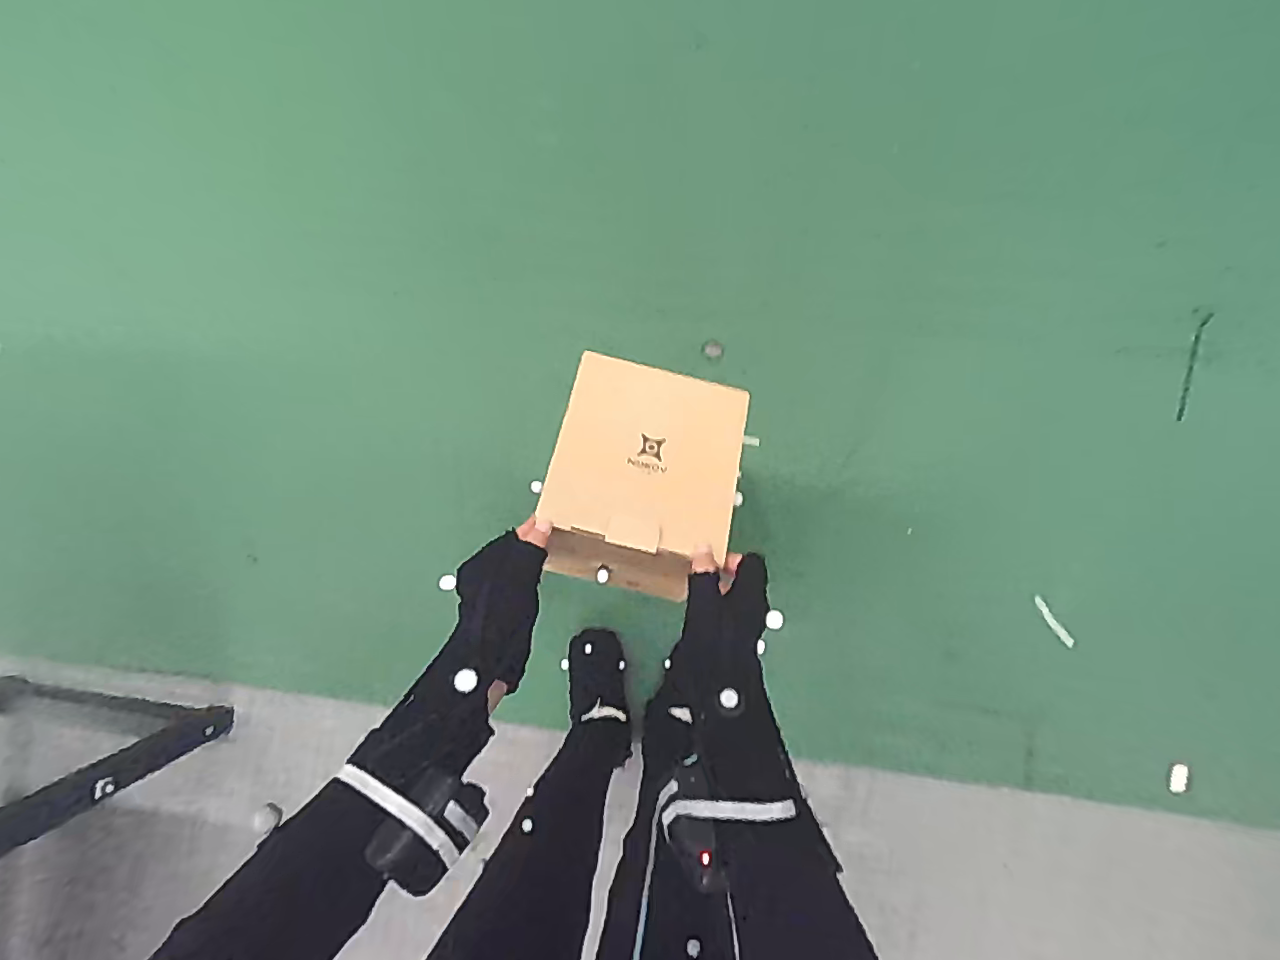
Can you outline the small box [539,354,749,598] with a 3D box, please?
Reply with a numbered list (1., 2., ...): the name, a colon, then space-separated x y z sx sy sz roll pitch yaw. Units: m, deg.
1. small box: -0.003 0.007 0.554 0.168 0.176 0.179 15 67 -4
